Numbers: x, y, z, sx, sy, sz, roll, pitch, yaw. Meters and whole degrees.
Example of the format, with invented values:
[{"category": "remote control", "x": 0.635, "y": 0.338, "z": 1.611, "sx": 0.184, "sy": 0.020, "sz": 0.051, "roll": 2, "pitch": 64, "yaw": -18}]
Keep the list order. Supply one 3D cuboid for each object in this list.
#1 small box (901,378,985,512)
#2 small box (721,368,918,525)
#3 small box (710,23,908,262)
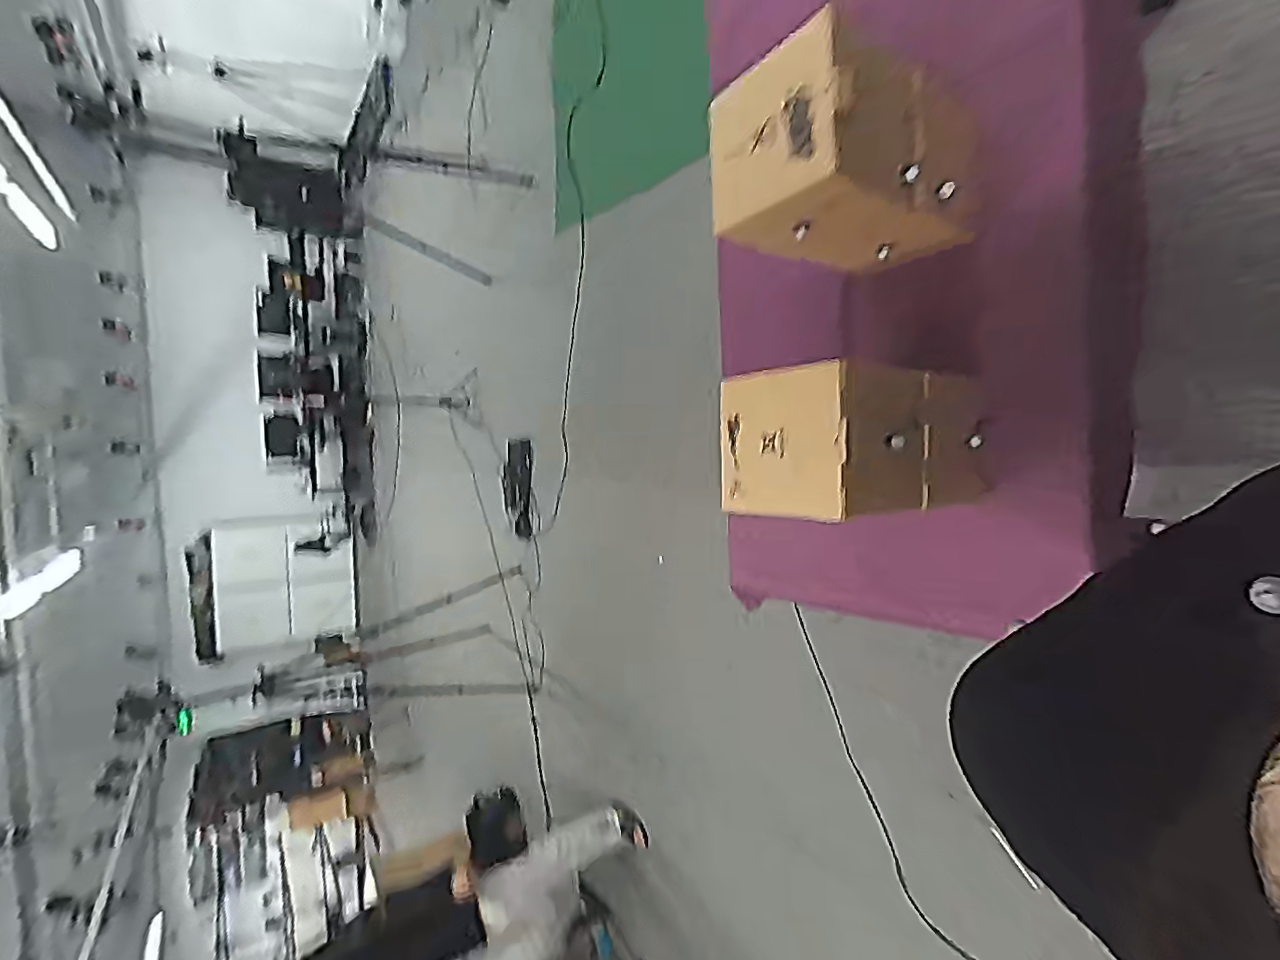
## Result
[{"category": "small box", "x": 0.355, "y": -0.046, "z": 0.762, "sx": 0.179, "sy": 0.176, "sz": 0.168, "roll": 2, "pitch": 94, "yaw": 53}, {"category": "small box", "x": 0.221, "y": -0.040, "z": 0.666, "sx": 0.179, "sy": 0.176, "sz": 0.168, "roll": 2, "pitch": 93, "yaw": 53}, {"category": "small box", "x": 0.208, "y": -0.387, "z": 0.661, "sx": 0.179, "sy": 0.176, "sz": 0.168, "roll": -1, "pitch": 91, "yaw": 54}]
